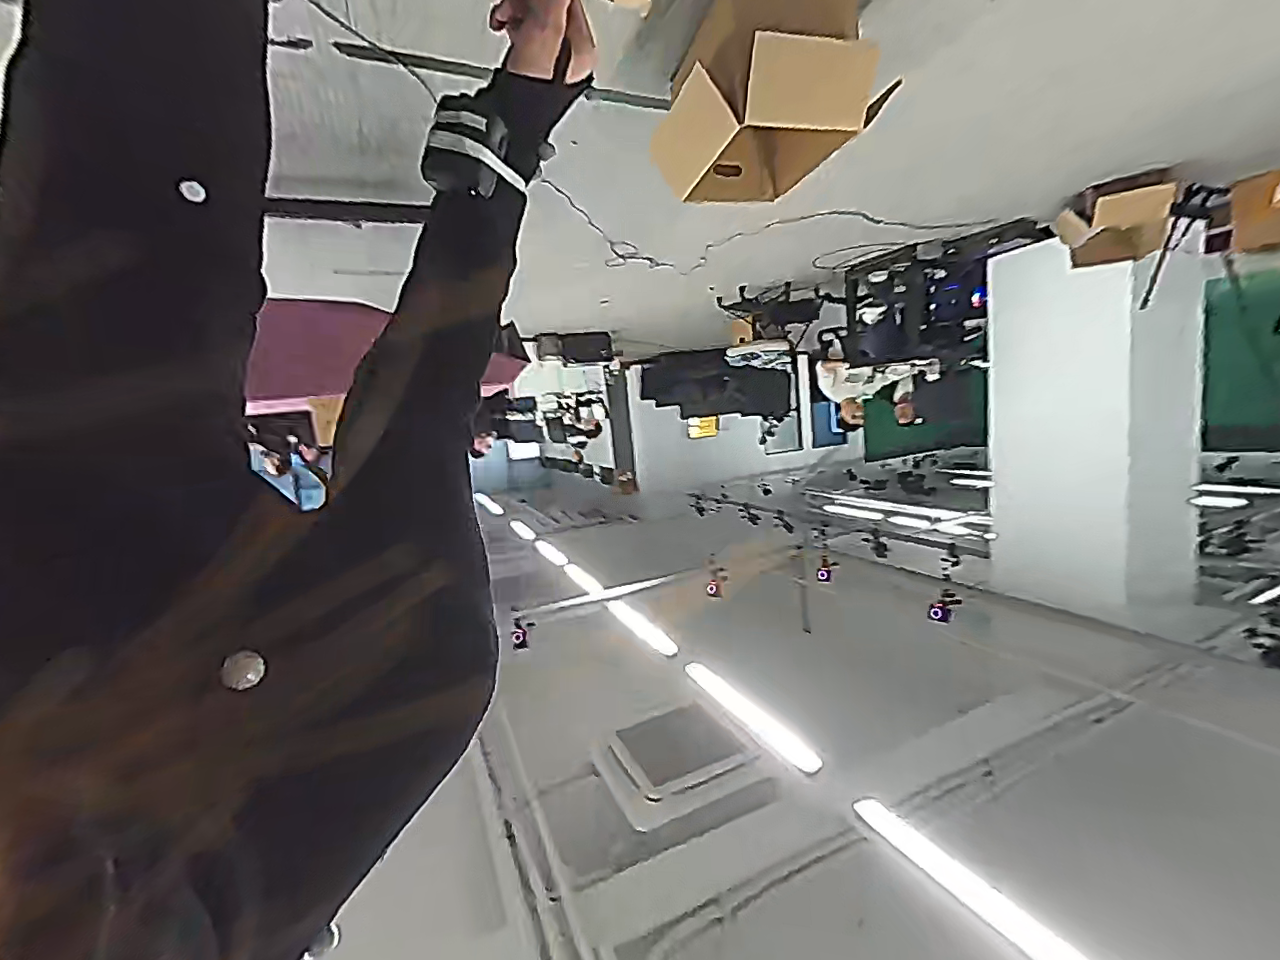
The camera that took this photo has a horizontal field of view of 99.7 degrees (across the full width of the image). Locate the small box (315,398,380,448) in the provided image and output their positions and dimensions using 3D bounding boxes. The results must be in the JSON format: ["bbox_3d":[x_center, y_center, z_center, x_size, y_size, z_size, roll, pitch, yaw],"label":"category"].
[{"bbox_3d":[-1.095,-0.217,2.029,0.168,0.176,0.179,-8,-172,-15],"label":"small box"}]
